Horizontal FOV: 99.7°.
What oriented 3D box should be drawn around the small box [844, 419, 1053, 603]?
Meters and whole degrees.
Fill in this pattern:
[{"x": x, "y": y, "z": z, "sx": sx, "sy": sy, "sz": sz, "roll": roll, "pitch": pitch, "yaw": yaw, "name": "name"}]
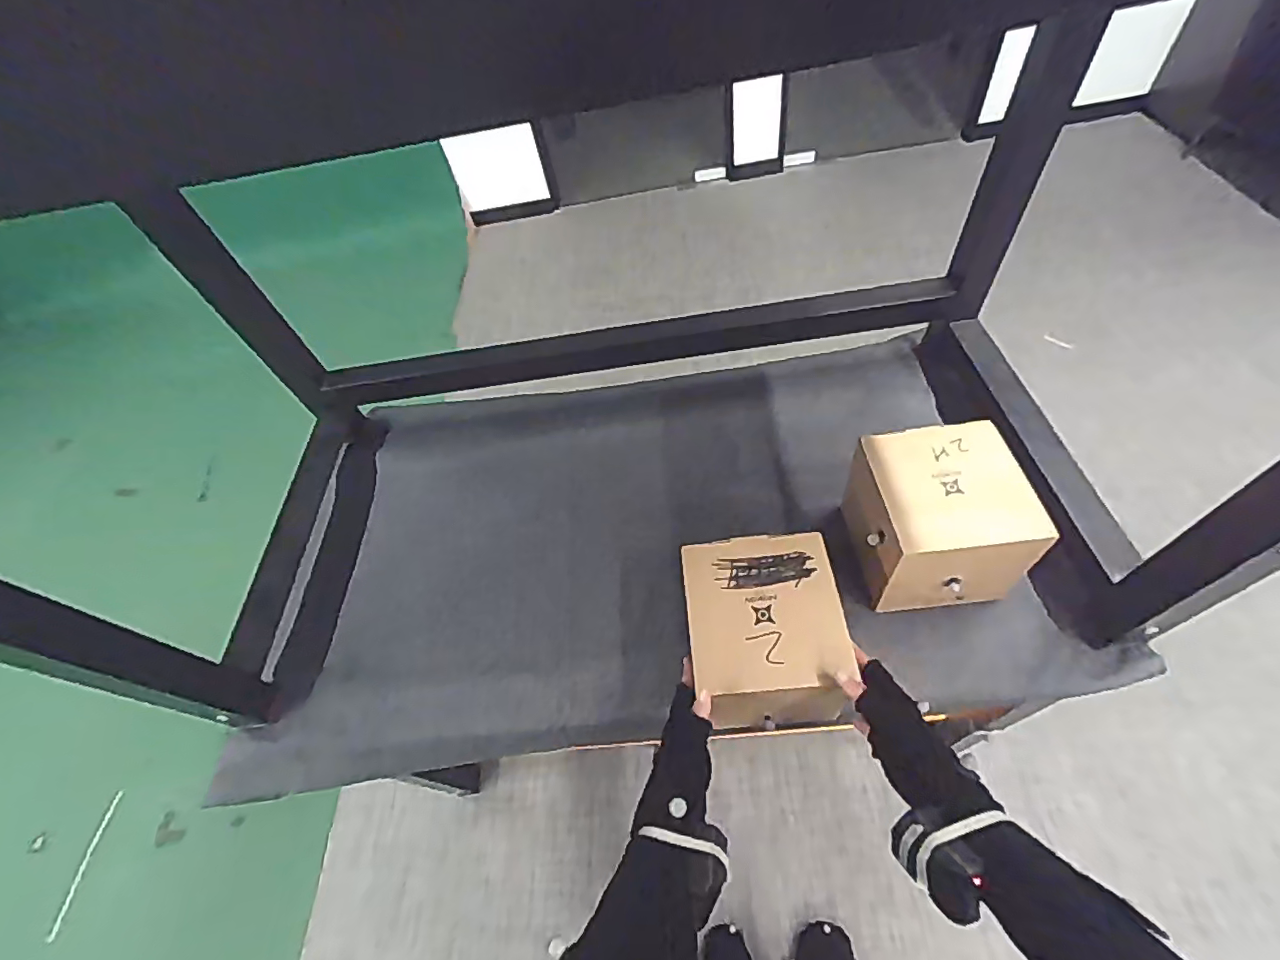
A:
[{"x": 0.380, "y": 0.049, "z": 0.707, "sx": 0.168, "sy": 0.176, "sz": 0.179, "roll": -8, "pitch": 53, "yaw": 5, "name": "small box"}]
